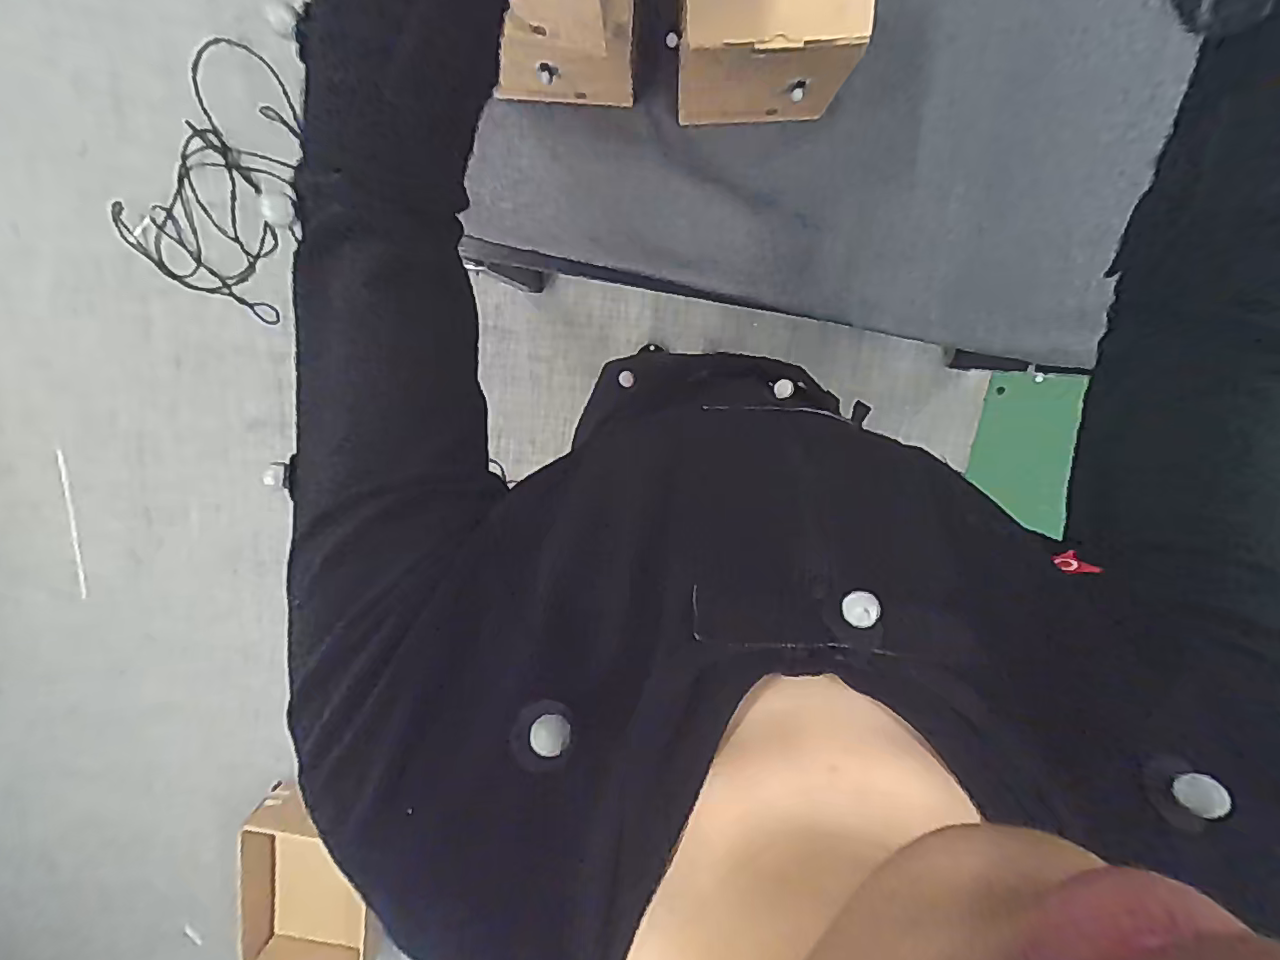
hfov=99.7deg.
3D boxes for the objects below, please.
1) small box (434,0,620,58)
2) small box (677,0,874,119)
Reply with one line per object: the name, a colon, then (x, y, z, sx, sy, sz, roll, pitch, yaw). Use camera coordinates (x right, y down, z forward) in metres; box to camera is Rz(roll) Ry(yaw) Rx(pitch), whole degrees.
small box: (-0.089, -0.455, 0.382, 0.168, 0.176, 0.179, 12, 104, -2)
small box: (0.124, -0.485, 0.539, 0.168, 0.176, 0.179, -1, 103, 1)
